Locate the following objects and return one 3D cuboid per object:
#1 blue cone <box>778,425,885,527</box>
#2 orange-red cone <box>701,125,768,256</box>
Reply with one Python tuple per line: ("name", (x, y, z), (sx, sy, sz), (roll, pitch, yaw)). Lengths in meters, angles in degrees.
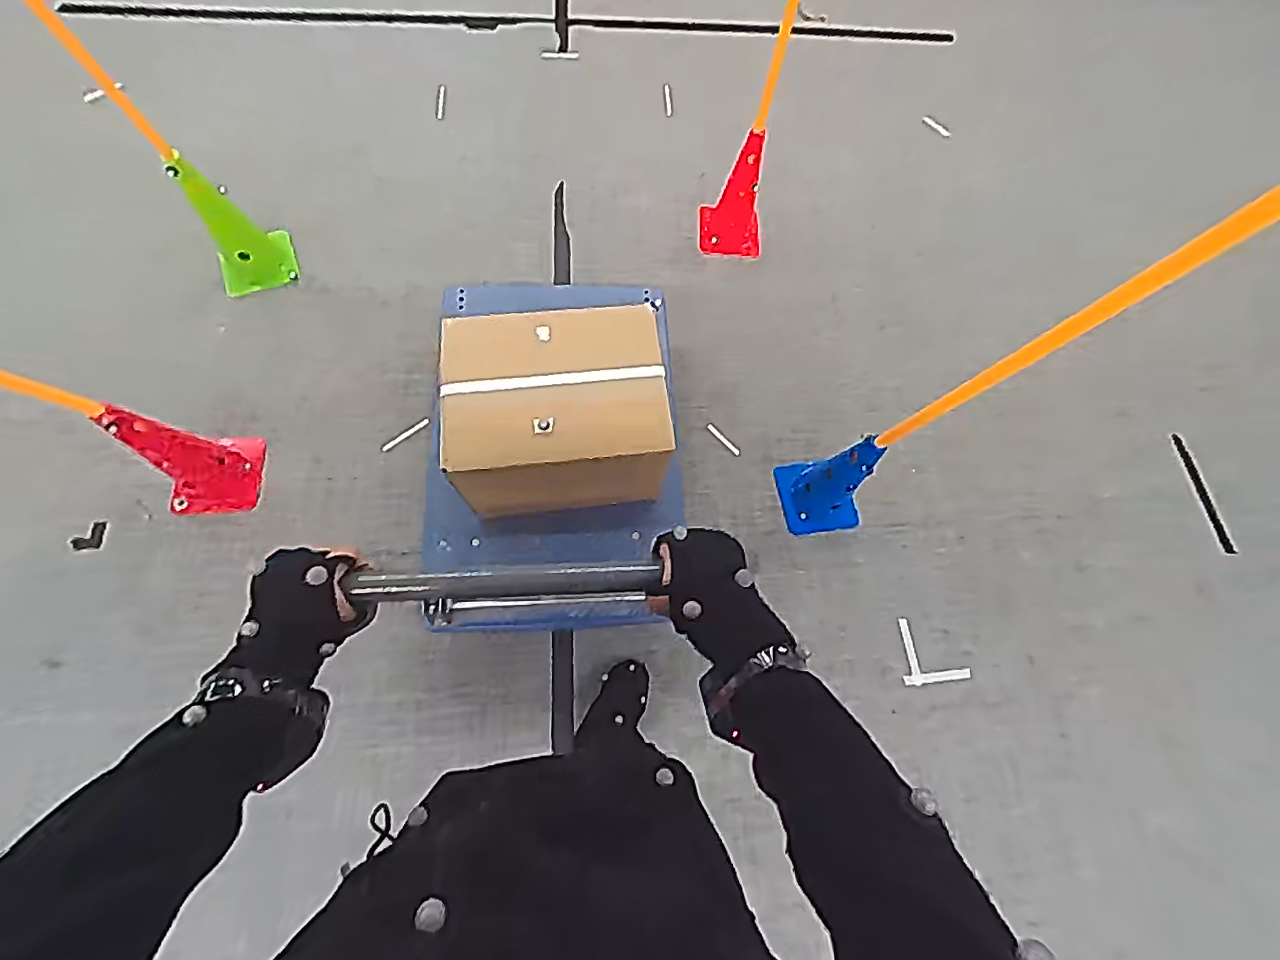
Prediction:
("blue cone", (0.495, -0.026, 1.321), (0.193, 0.380, 0.192), (-6, 69, -7))
("orange-red cone", (0.312, -0.873, 1.601), (0.199, 0.360, 0.198), (4, 70, -4))
